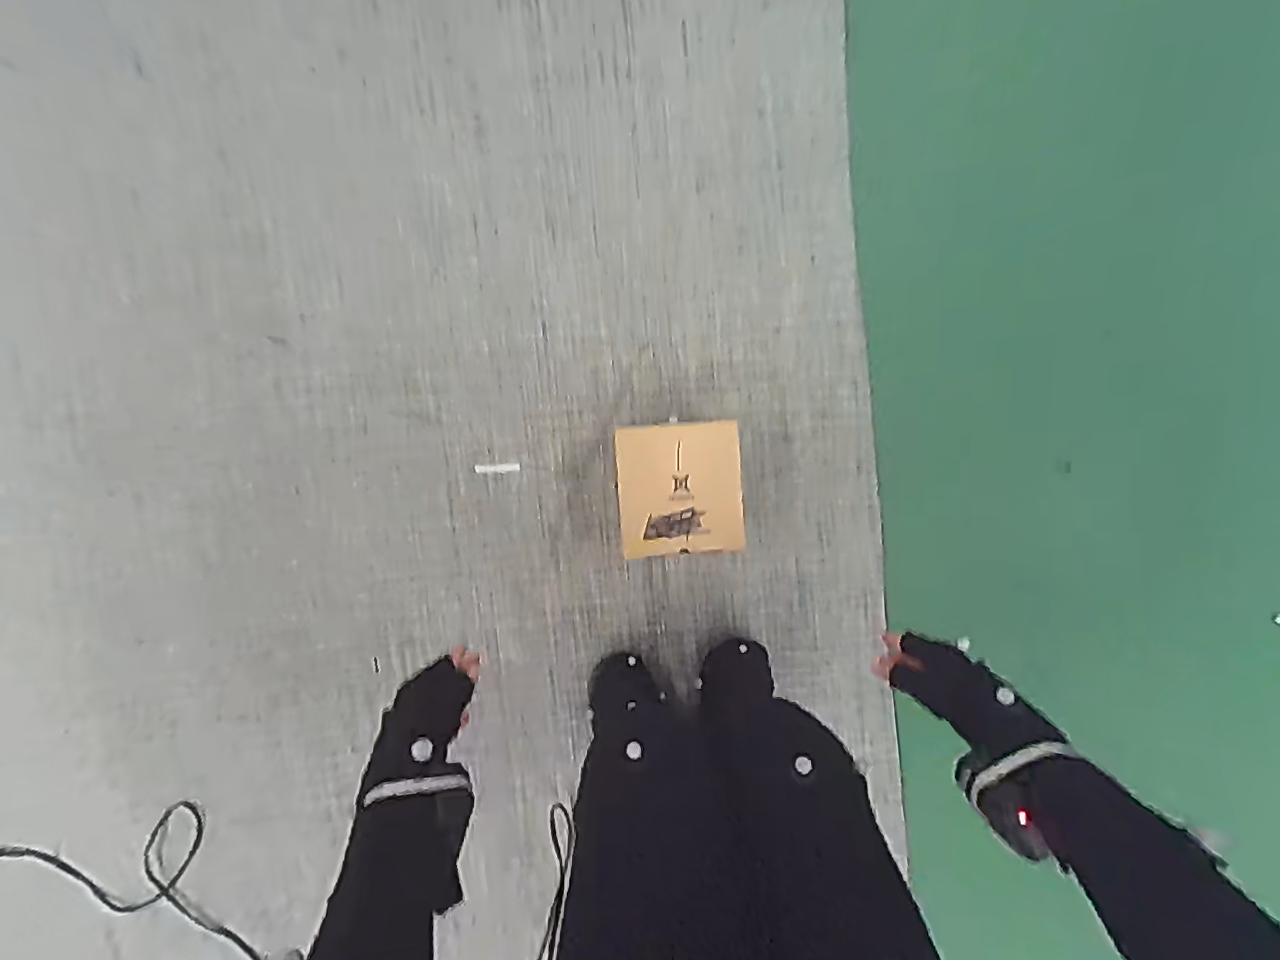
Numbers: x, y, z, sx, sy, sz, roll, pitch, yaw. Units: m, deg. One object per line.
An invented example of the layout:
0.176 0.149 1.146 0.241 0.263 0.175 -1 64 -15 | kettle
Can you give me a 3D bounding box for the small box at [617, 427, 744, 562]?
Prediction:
0.054 0.015 0.799 0.168 0.176 0.179 -4 92 -1 | small box
